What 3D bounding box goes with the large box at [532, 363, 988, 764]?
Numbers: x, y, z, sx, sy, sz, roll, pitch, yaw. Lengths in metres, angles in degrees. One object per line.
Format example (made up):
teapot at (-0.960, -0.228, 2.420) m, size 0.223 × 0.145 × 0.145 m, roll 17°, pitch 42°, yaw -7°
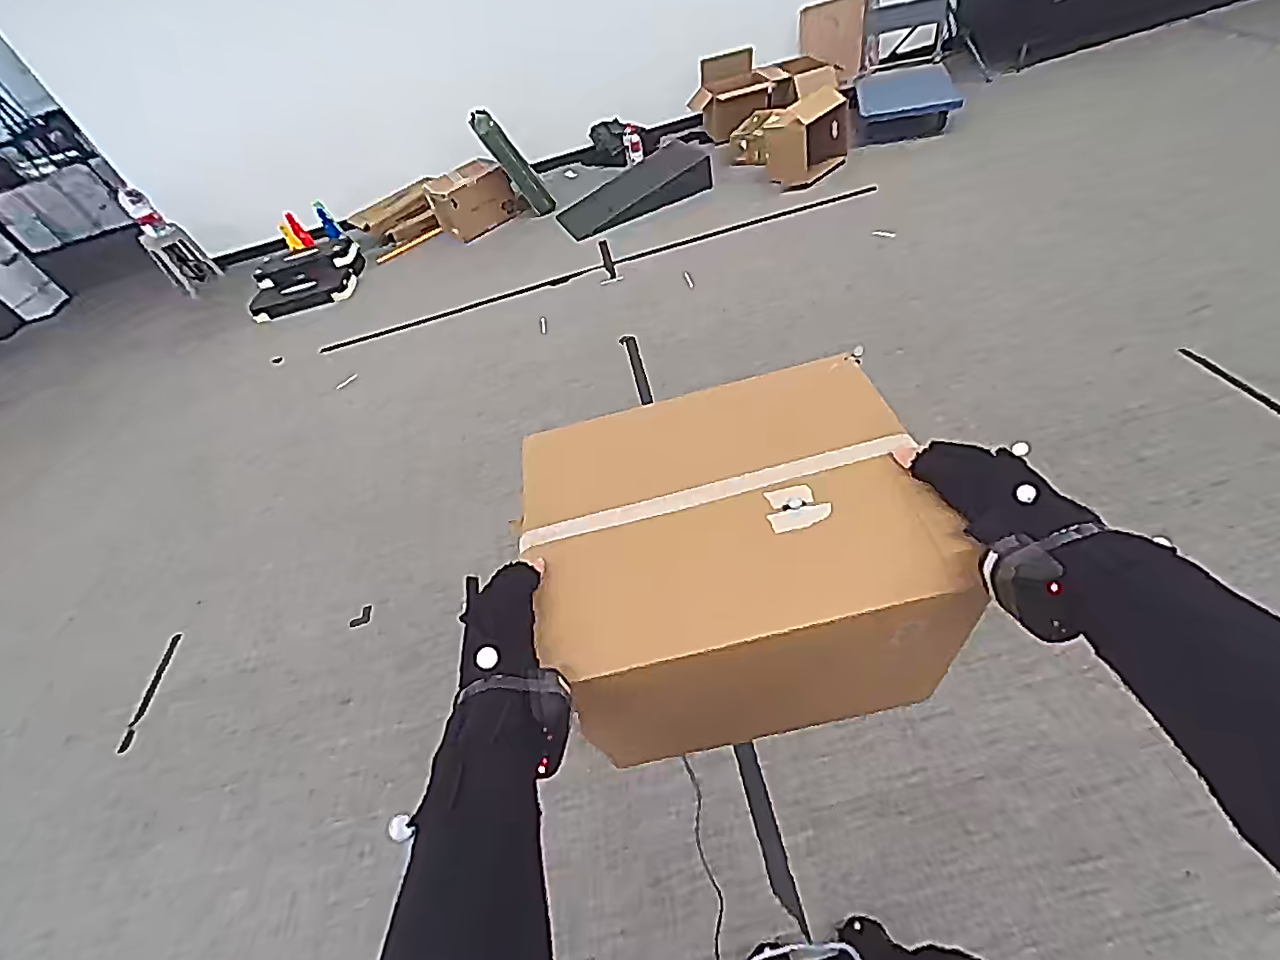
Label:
large box at (0.110, 0.112, 0.674) m, size 0.408 × 0.320 × 0.320 m, roll -14°, pitch 50°, yaw 2°
